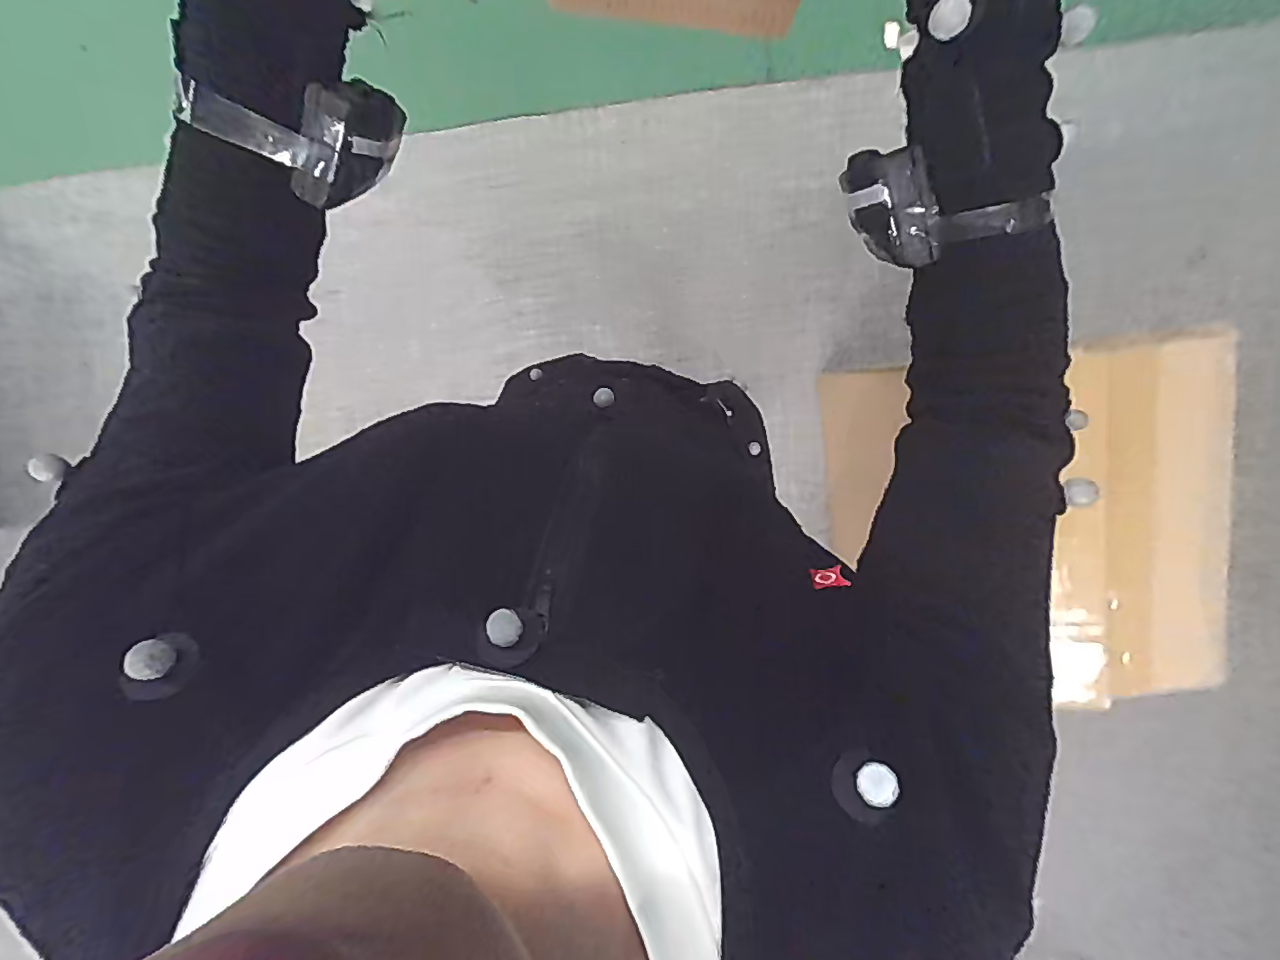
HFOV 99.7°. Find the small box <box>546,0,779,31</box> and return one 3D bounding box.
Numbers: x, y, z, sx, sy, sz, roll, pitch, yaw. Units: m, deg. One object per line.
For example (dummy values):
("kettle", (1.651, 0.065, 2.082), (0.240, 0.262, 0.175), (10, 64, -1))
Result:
("small box", (0.017, -0.387, 0.298), (0.179, 0.176, 0.168), (6, 107, 3))
